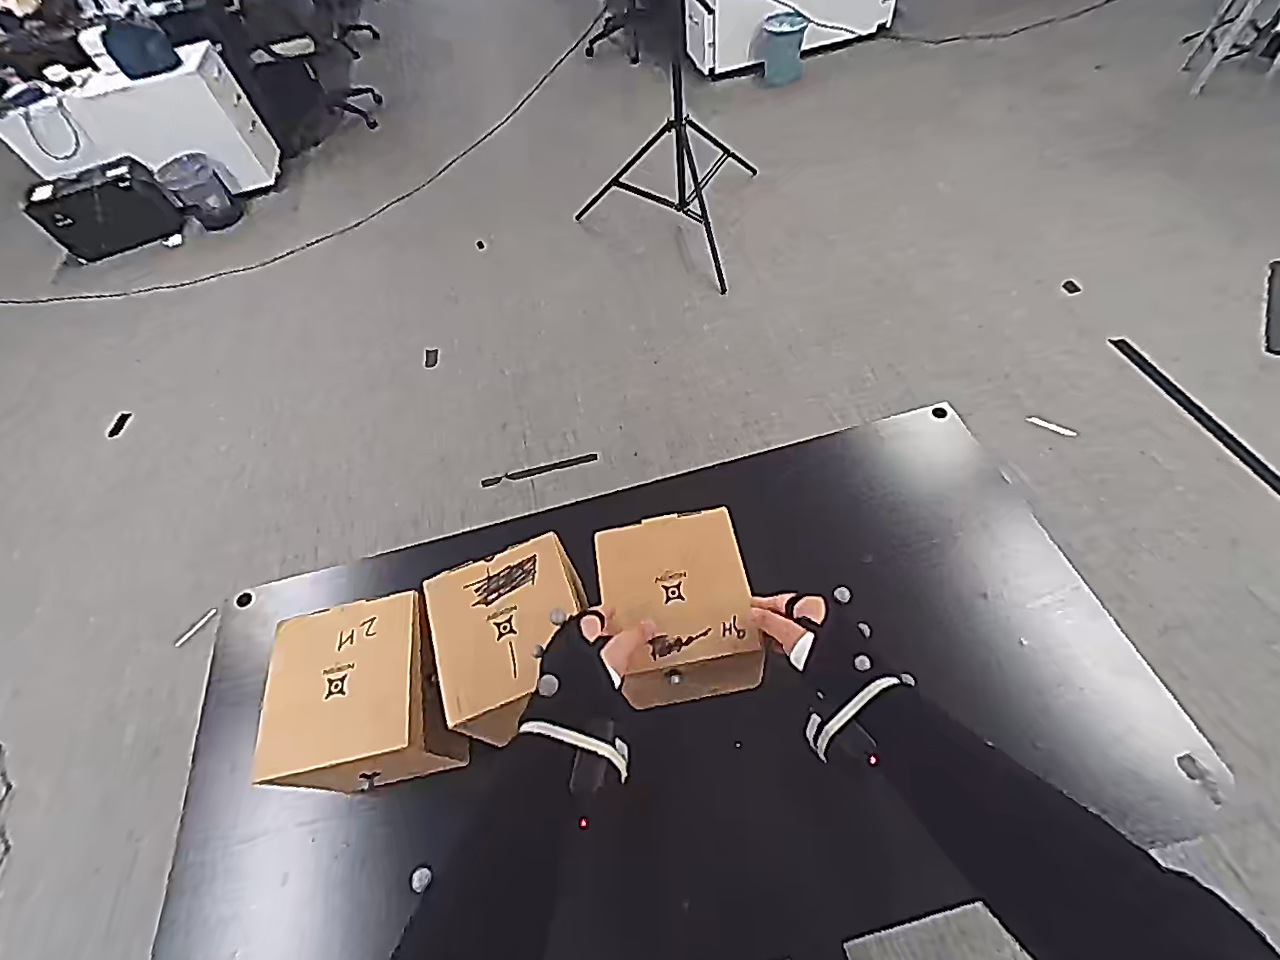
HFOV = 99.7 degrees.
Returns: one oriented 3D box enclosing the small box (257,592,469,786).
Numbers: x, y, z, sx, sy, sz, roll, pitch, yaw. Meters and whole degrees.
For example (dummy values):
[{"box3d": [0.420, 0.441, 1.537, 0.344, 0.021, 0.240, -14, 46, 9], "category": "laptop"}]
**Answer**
[{"box3d": [-0.320, 0.264, 0.665, 0.168, 0.176, 0.179, -13, 56, -1], "category": "small box"}]
